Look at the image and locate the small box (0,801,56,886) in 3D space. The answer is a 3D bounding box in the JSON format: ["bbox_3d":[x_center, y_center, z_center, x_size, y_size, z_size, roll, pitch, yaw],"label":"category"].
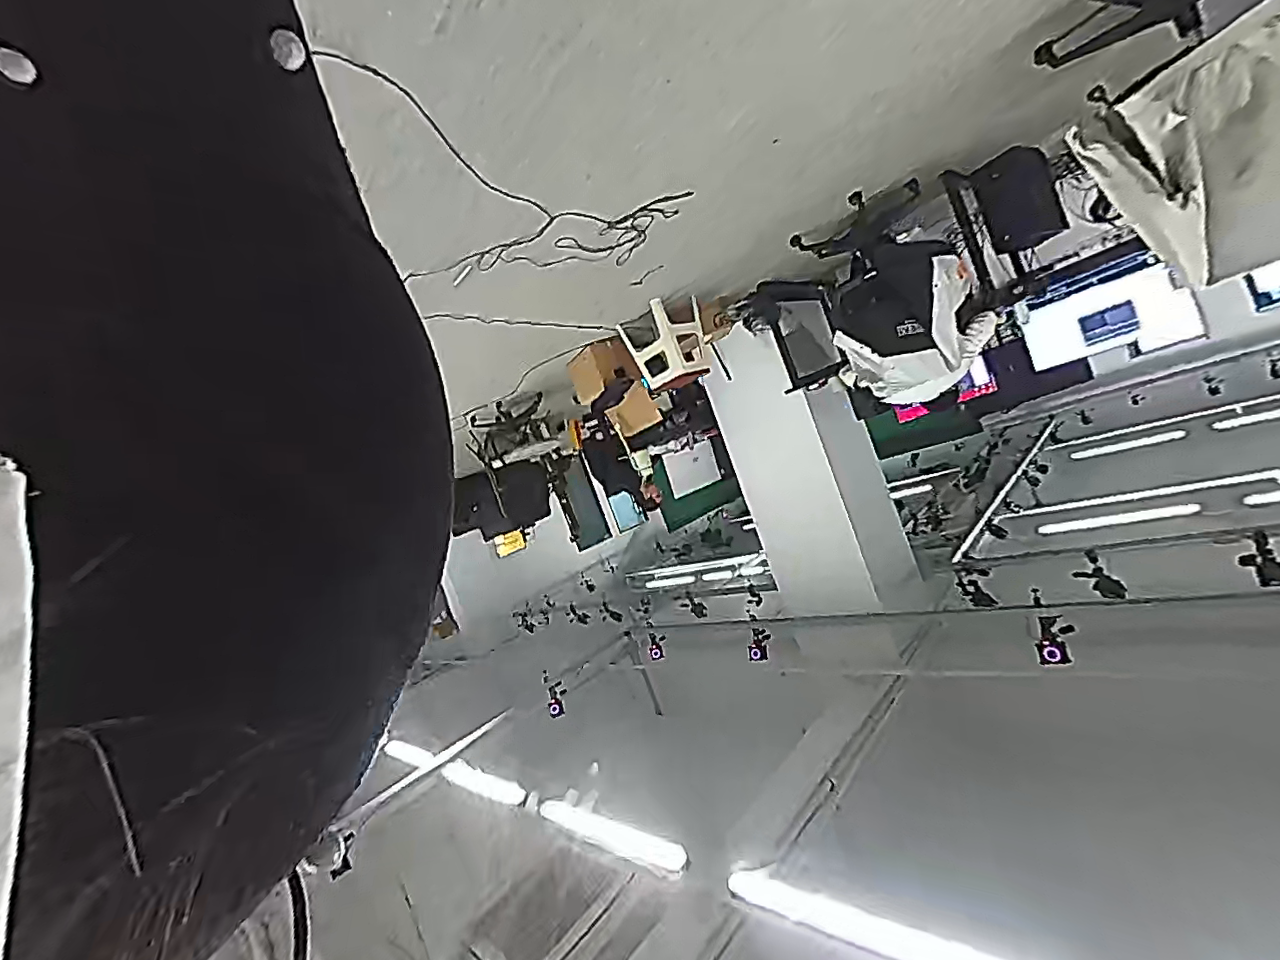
[{"bbox_3d":[-1.953,1.130,1.664,0.168,0.176,0.179,-20,-177,-41],"label":"small box"}]
